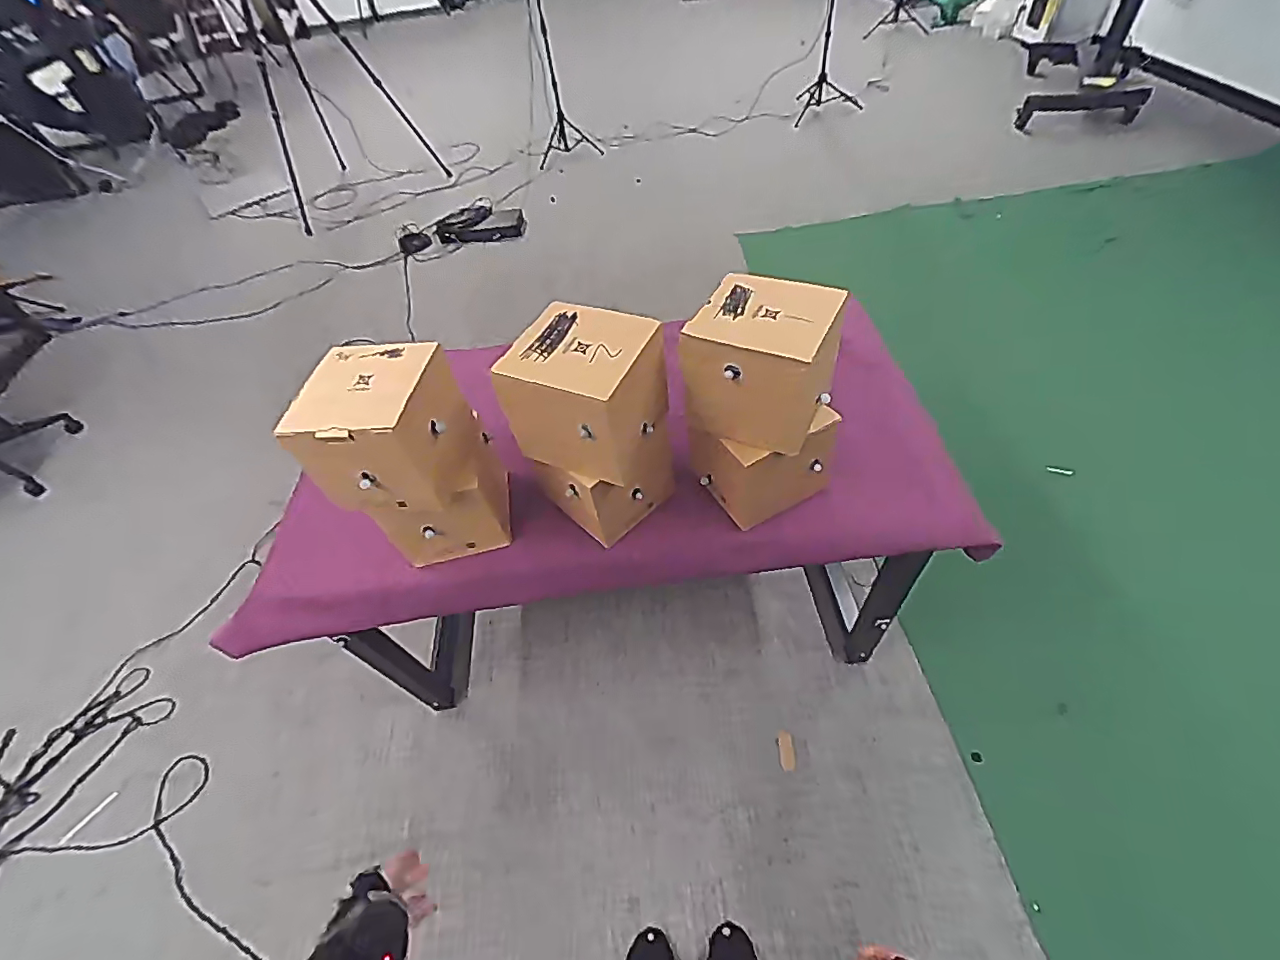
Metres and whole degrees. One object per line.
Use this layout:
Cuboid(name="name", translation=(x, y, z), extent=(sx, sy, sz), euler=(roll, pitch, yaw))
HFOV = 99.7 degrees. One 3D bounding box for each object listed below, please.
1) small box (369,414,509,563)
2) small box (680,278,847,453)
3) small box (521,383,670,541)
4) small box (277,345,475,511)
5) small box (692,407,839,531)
Cuboid(name="small box", translation=(-0.325, 0.022, 0.906), extent=(0.168, 0.176, 0.179), euler=(-13, 50, -3))
Cuboid(name="small box", translation=(0.173, -0.163, 0.776), extent=(0.179, 0.176, 0.168), euler=(20, 55, 23))
Cuboid(name="small box", translation=(-0.064, -0.023, 0.904), extent=(0.168, 0.176, 0.179), euler=(-39, 56, -23))
Cuboid(name="small box", translation=(-0.356, -0.068, 0.771), extent=(0.168, 0.176, 0.179), euler=(0, 51, 7))
Cuboid(name="small box", translation=(0.195, -0.050, 0.893), extent=(0.179, 0.176, 0.168), euler=(-26, 51, -12))
